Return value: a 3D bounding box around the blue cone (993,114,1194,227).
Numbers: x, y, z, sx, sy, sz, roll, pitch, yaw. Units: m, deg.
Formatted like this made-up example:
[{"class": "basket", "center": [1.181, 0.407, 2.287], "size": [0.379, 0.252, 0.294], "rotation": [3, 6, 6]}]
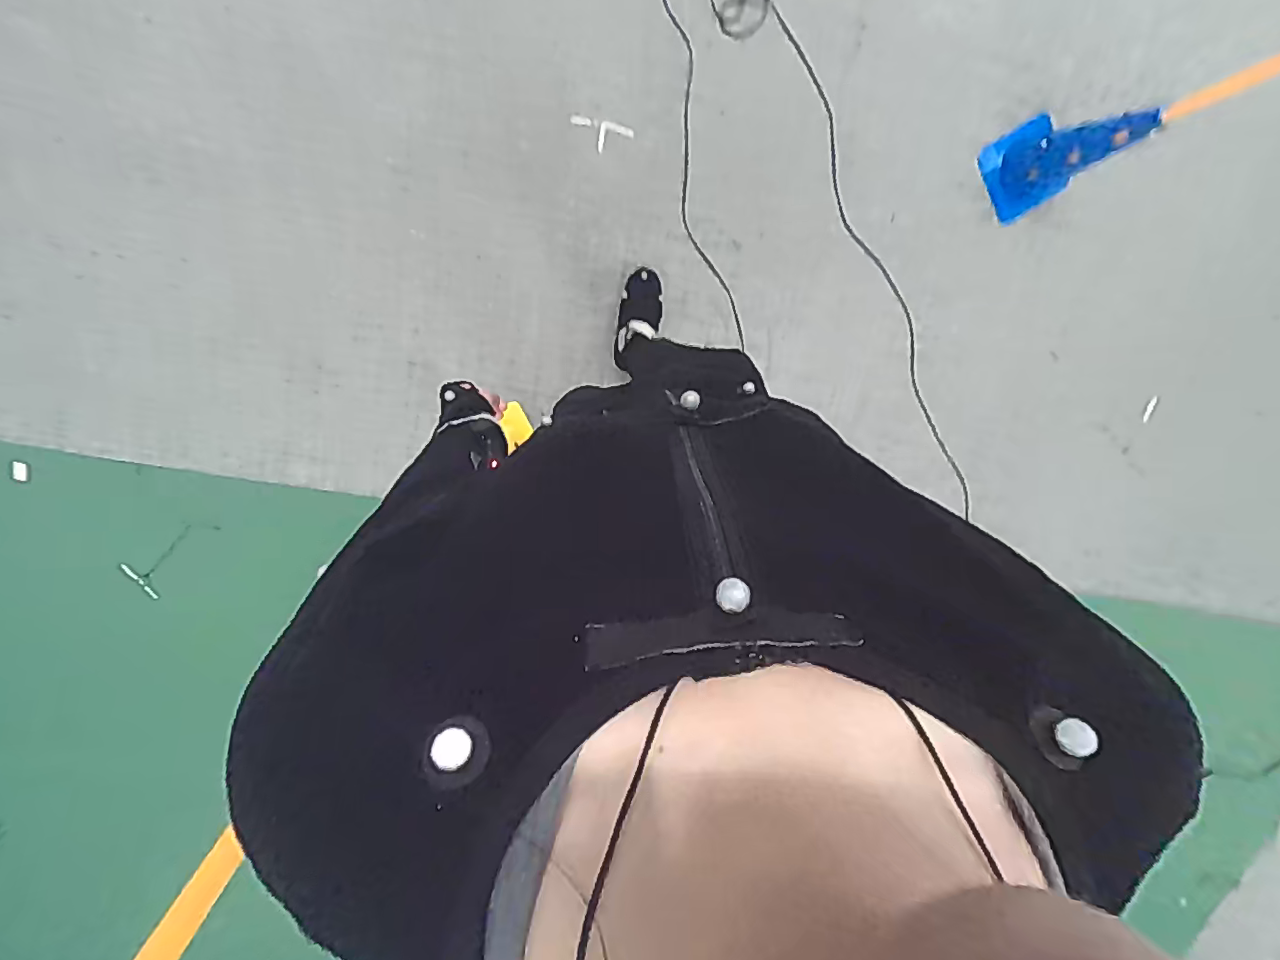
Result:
[{"class": "blue cone", "center": [1.001, -0.721, 1.188], "size": [0.193, 0.380, 0.192], "rotation": [-34, 105, 4]}]
